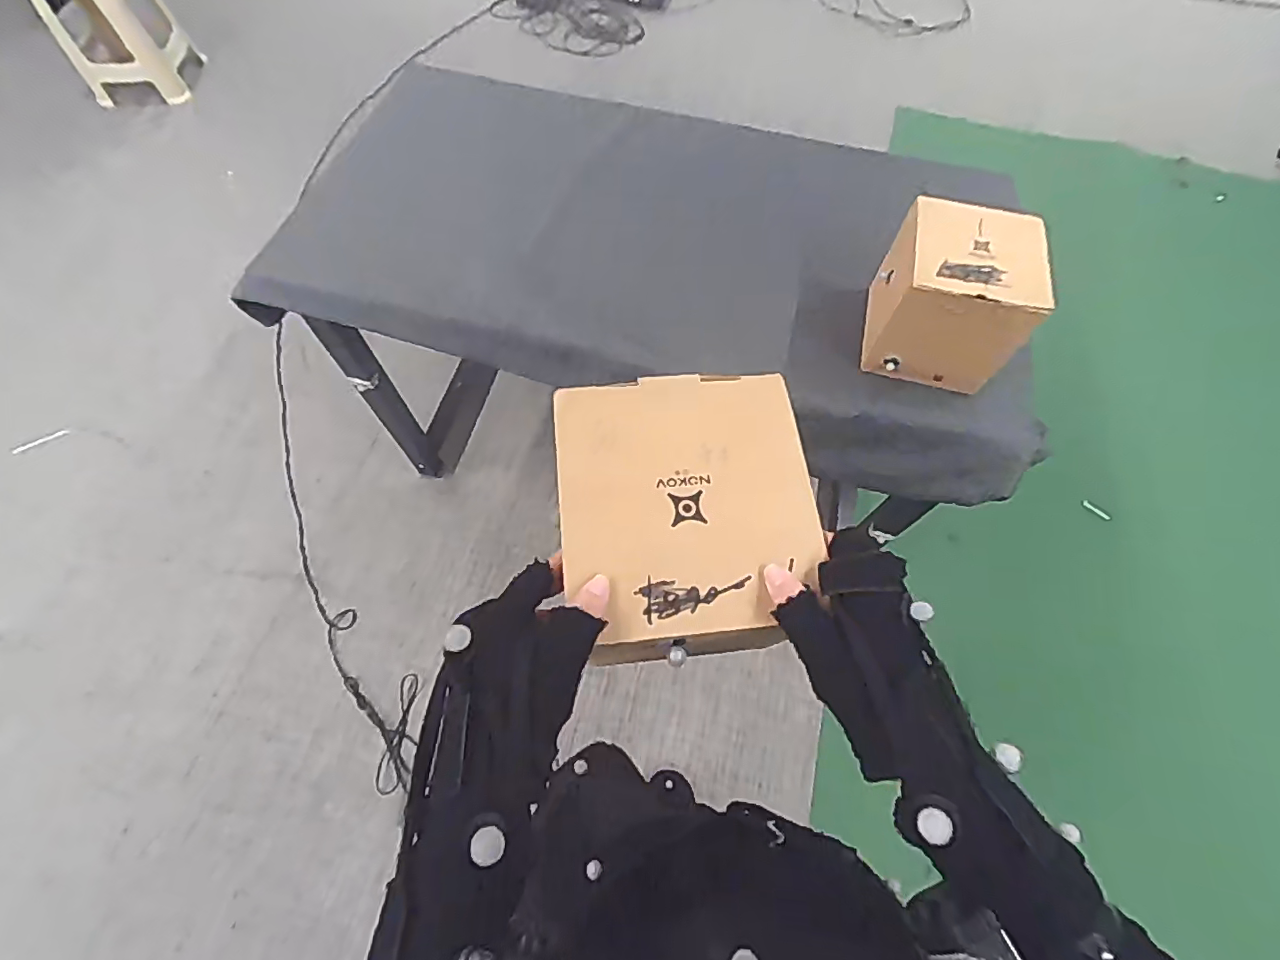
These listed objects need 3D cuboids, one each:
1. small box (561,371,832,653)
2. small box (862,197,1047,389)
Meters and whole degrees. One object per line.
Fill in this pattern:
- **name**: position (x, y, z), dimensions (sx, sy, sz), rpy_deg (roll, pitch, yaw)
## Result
- **small box**: position (0.027, 0.035, 0.432), dimensions (0.168, 0.176, 0.179), rpy_deg (-5, 69, -4)
- **small box**: position (0.428, -0.255, 0.759), dimensions (0.168, 0.176, 0.179), rpy_deg (15, 63, 6)
